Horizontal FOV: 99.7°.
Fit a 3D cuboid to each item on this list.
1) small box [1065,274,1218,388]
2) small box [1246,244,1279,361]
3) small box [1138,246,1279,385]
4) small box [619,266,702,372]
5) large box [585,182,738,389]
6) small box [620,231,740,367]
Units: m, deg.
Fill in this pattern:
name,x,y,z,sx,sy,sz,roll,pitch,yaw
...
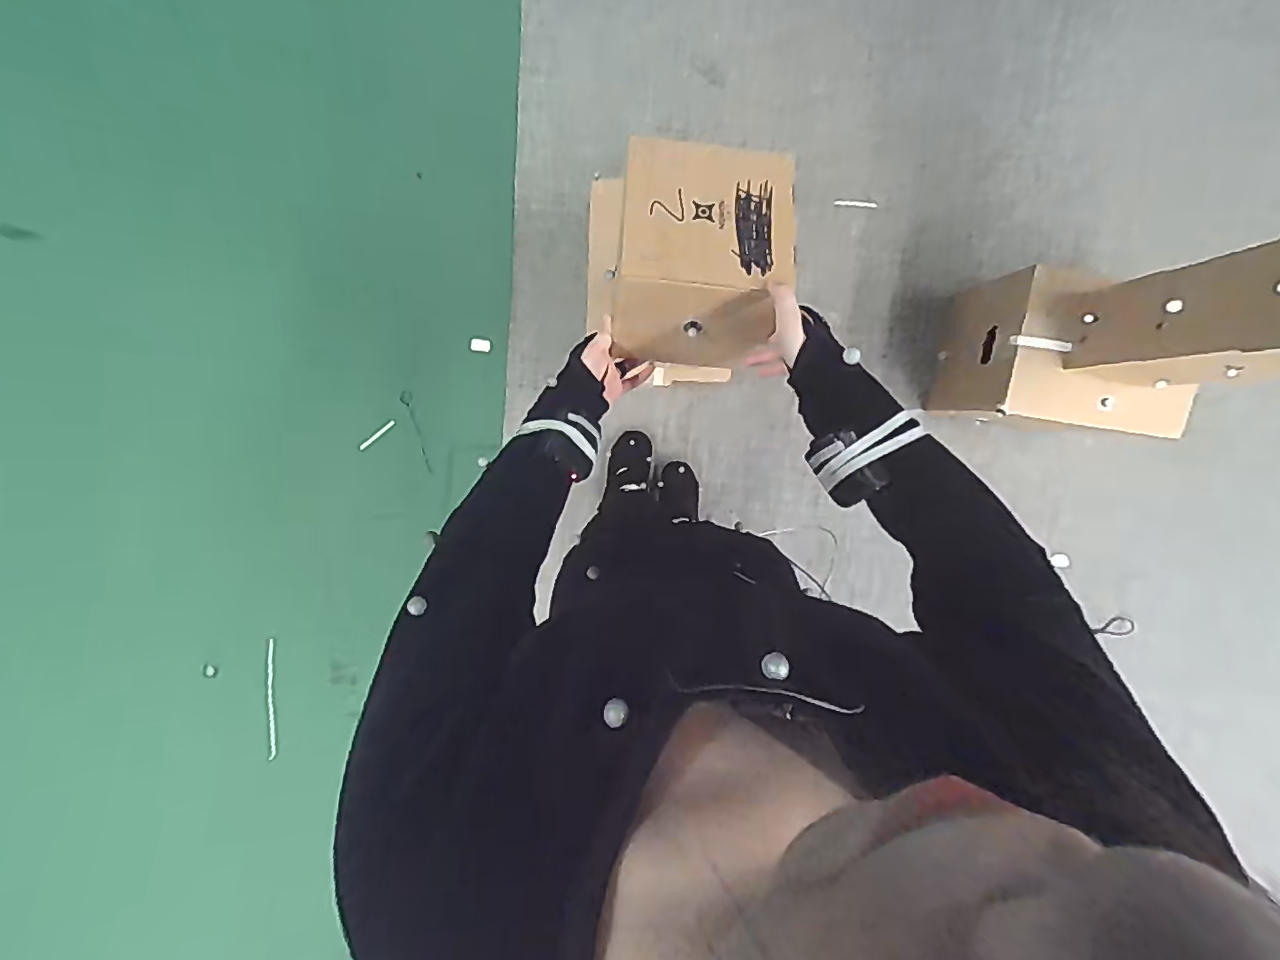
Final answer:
name,x,y,z,sx,sy,sz,roll,pitch,yaw
small box,0.990,-0.277,1.048,0.179,0.176,0.168,12,95,-1
small box,0.992,-0.243,0.722,0.168,0.176,0.179,13,96,-2
small box,0.993,-0.256,0.885,0.179,0.176,0.168,14,95,-1
small box,0.051,-0.306,1.045,0.168,0.176,0.179,5,96,-1
large box,0.045,-0.425,1.276,0.320,0.320,0.408,3,97,0
small box,0.059,-0.283,0.882,0.168,0.176,0.179,5,97,-1
